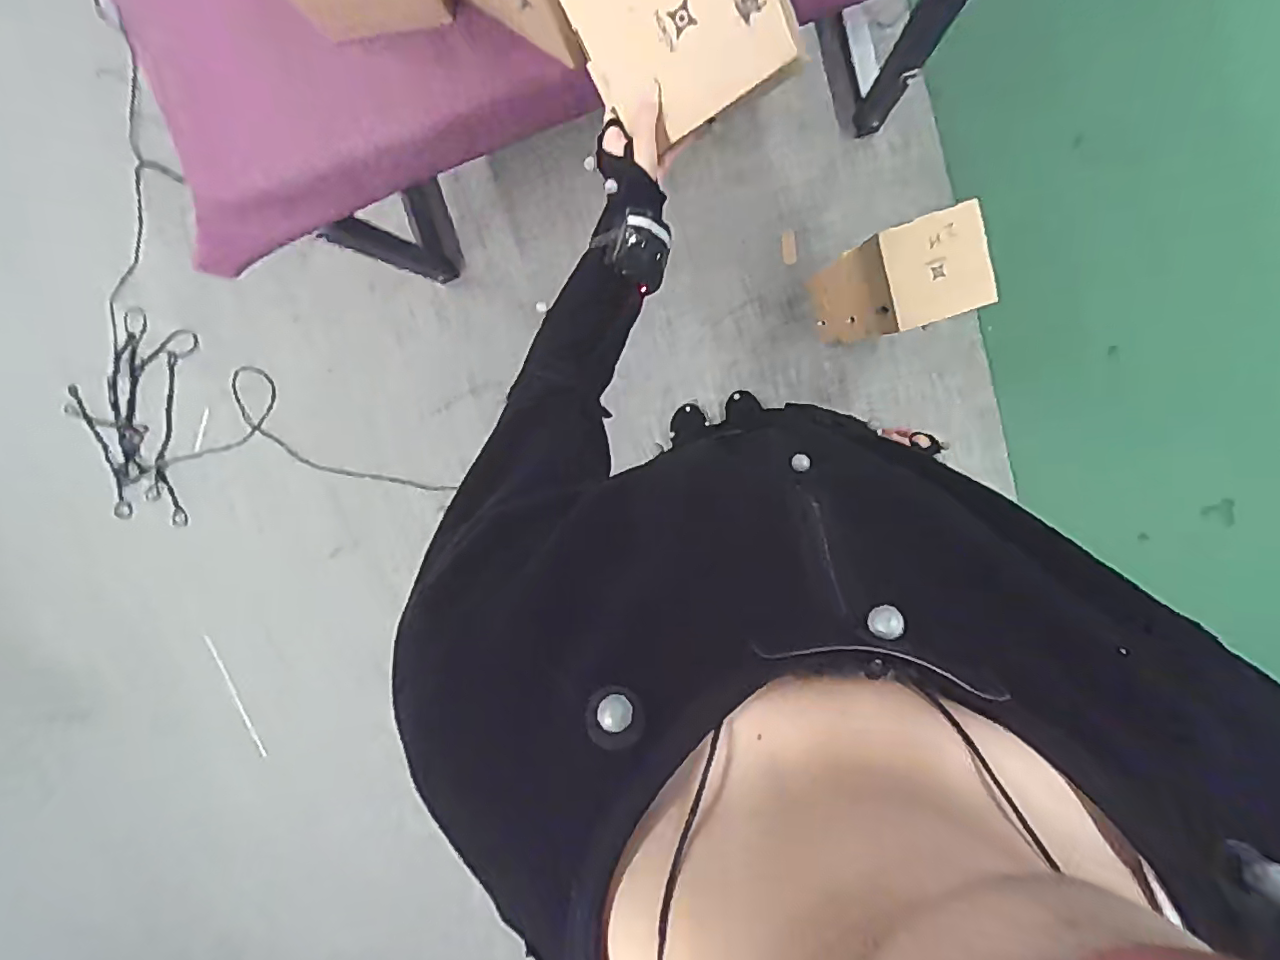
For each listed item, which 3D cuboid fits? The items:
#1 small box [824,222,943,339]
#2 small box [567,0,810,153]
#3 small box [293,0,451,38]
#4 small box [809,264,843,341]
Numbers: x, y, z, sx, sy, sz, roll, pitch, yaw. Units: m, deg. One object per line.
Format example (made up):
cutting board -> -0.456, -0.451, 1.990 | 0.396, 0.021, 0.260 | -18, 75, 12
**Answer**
small box -> 0.507, -0.413, 1.150 | 0.168, 0.176, 0.179 | -18, 99, 9
small box -> 0.060, -0.472, 0.557 | 0.179, 0.176, 0.168 | -19, 115, 31
small box -> -0.345, -0.657, 0.625 | 0.179, 0.176, 0.168 | -3, 100, 6
small box -> 0.519, -0.443, 1.308 | 0.179, 0.176, 0.168 | -15, 99, 9
